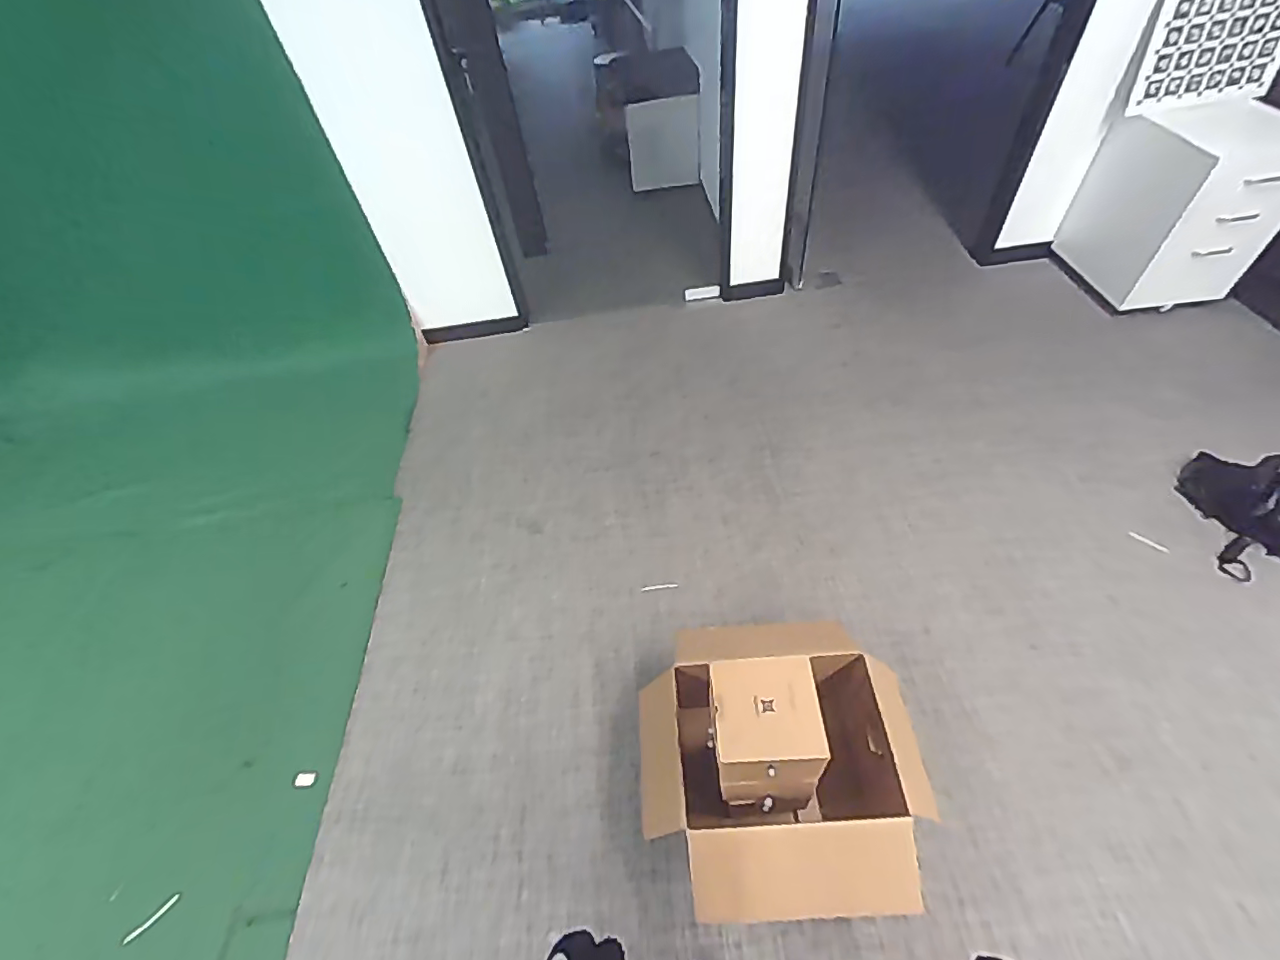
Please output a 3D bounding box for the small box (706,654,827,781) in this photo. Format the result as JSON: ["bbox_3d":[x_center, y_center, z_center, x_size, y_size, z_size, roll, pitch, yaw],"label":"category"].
[{"bbox_3d":[0.217,0.428,0.966,0.179,0.176,0.168,-6,51,4],"label":"small box"}]
